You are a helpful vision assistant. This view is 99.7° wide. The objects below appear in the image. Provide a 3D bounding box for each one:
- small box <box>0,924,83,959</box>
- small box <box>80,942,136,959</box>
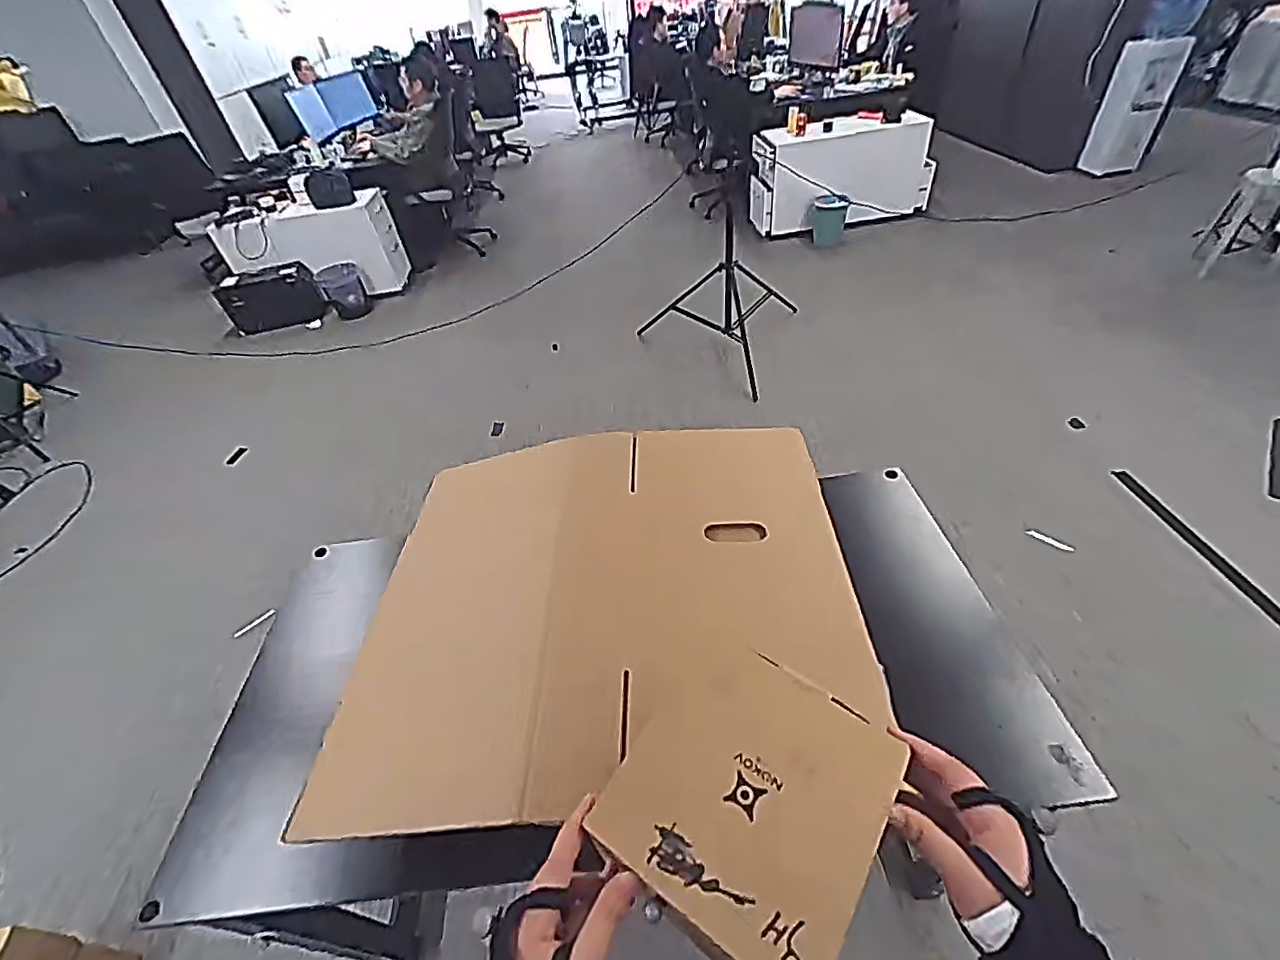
[{"bbox_3d":[-1.229,0.978,1.016,0.168,0.176,0.179,-12,42,-5],"label":"small box"},{"bbox_3d":[-1.210,1.100,1.122,0.168,0.176,0.179,-11,43,-2],"label":"small box"}]
